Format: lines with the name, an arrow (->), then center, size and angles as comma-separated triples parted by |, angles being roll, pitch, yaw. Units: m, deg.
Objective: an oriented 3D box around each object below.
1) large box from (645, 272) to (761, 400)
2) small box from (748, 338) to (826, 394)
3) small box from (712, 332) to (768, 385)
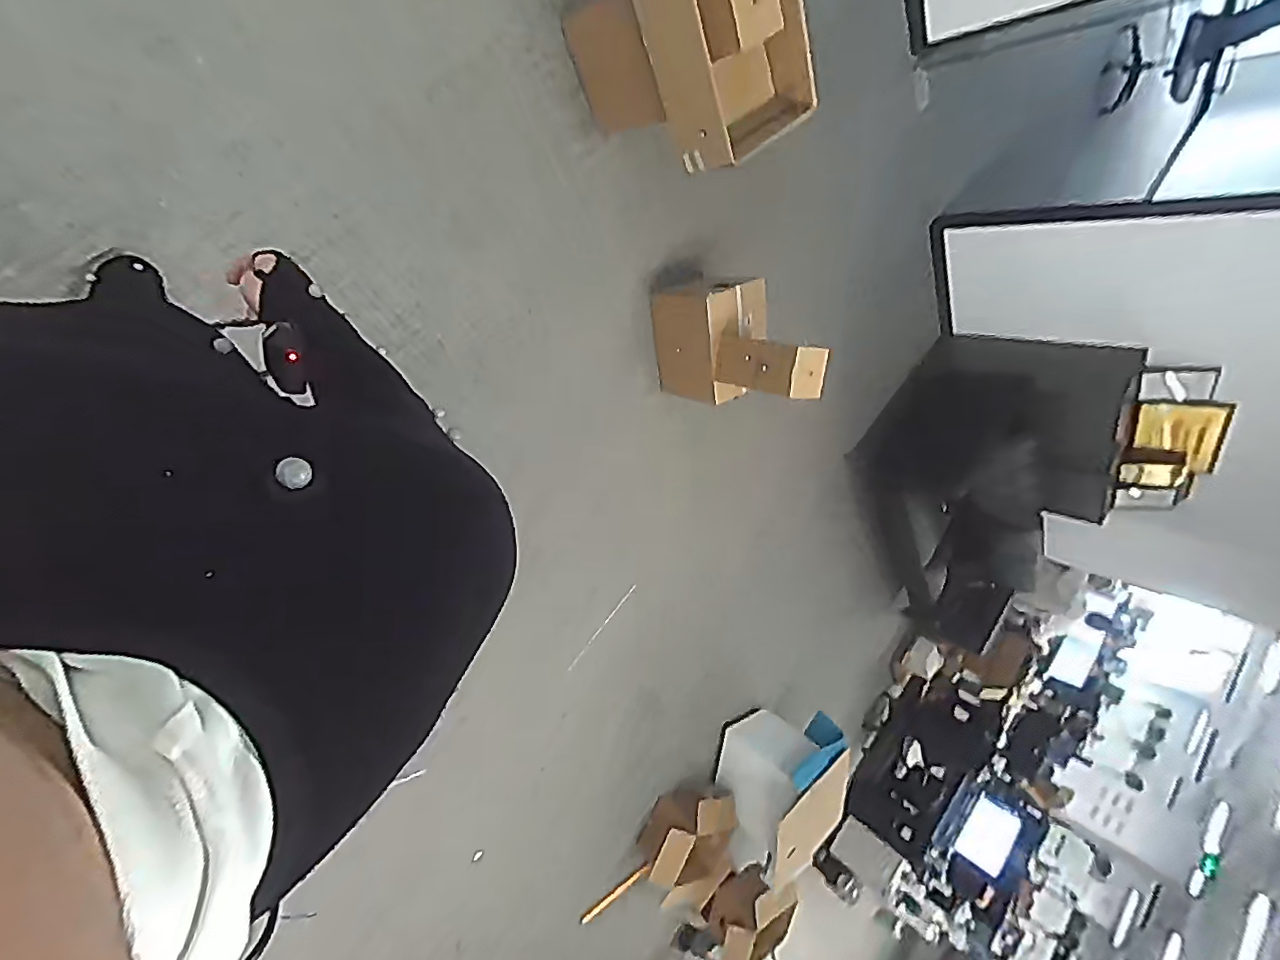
large box -> 0.256, -0.571, 2.110 | 0.320, 0.320, 0.408 | -30, 123, -32
small box -> 0.492, -0.385, 1.819 | 0.179, 0.176, 0.168 | -7, 111, -39
small box -> 0.386, -0.435, 1.936 | 0.179, 0.176, 0.168 | -7, 111, -40
